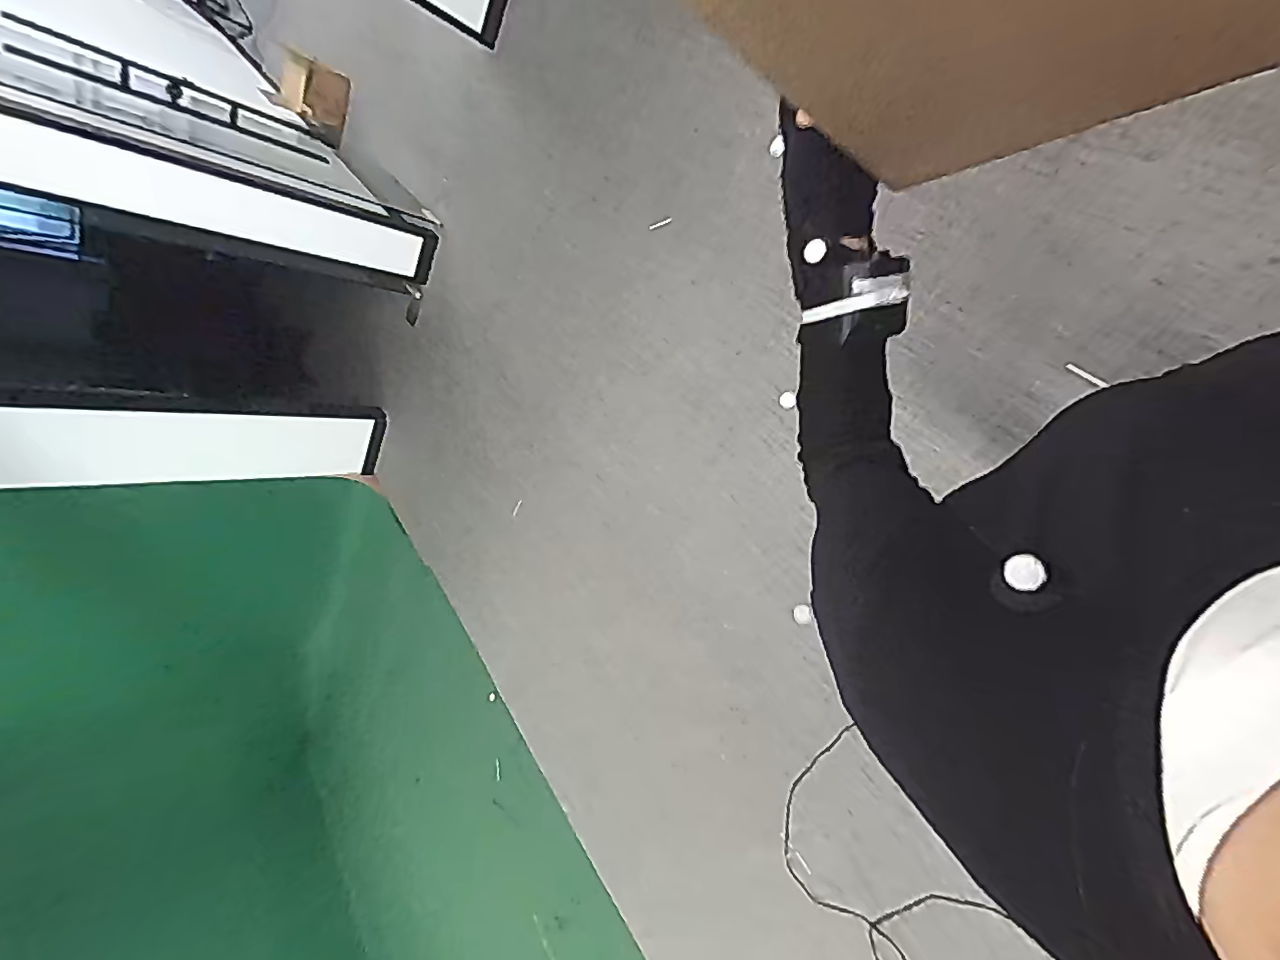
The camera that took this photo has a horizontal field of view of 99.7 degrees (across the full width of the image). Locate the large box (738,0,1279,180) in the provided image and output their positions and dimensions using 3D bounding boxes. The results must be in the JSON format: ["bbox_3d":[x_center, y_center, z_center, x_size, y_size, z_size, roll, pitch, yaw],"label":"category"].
[{"bbox_3d":[0.240,-0.368,0.174,0.408,0.320,0.320,-2,97,39],"label":"large box"}]
